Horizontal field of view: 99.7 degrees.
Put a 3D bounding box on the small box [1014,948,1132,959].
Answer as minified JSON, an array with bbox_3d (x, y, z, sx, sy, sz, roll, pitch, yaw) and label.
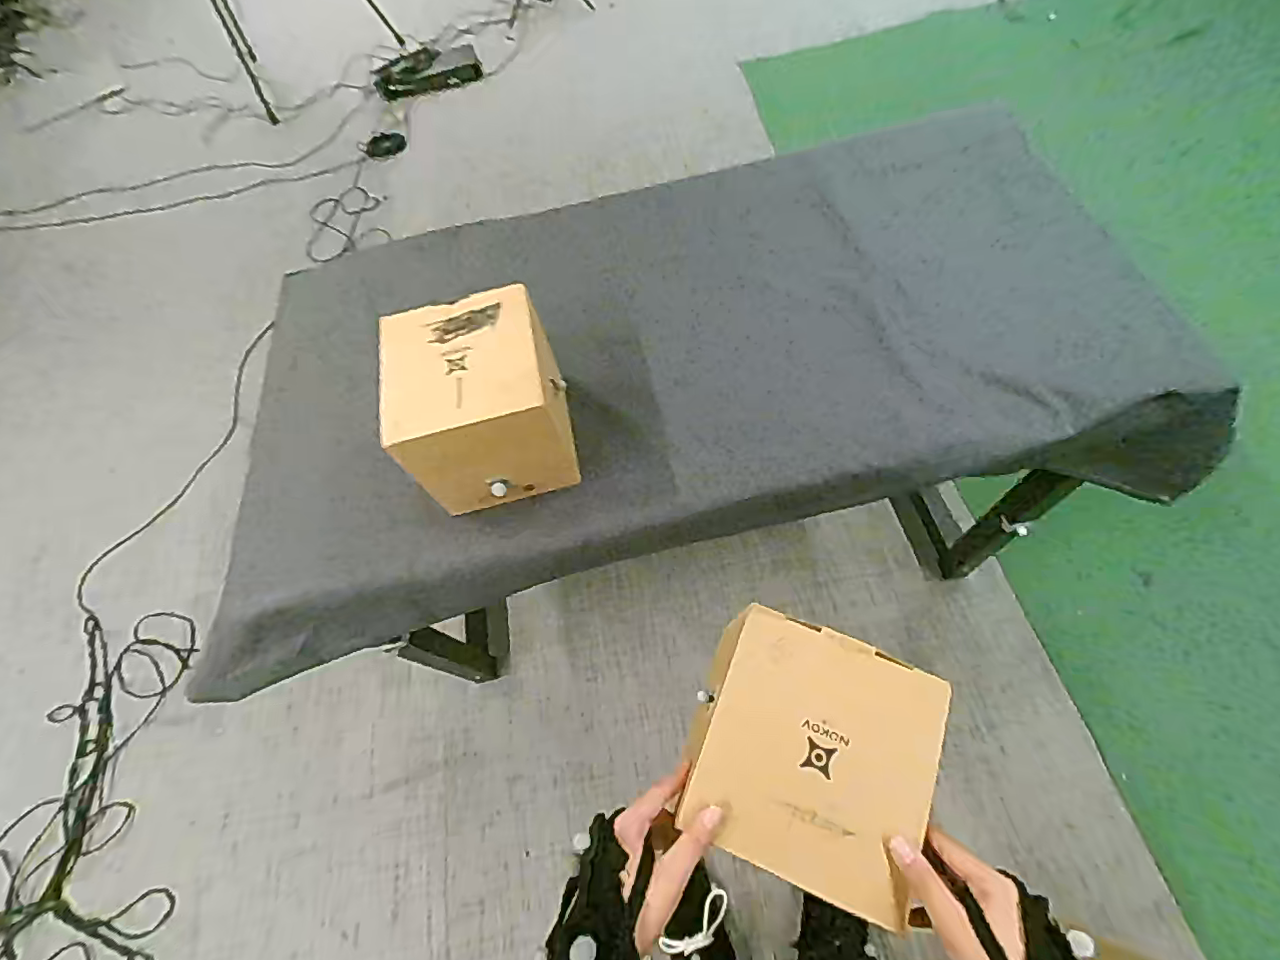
[{"bbox_3d":[0.628,0.749,0.709,0.179,0.176,0.168,-11,61,3],"label":"small box"}]

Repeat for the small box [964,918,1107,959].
[{"bbox_3d":[0.646,0.824,0.853,0.179,0.176,0.168,-13,61,3],"label":"small box"}]

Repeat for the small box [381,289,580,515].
[{"bbox_3d":[-0.176,-0.084,0.629,0.168,0.176,0.179,-15,61,1],"label":"small box"}]

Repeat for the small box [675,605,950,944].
[{"bbox_3d":[0.132,0.232,0.467,0.168,0.176,0.179,20,69,10],"label":"small box"}]
